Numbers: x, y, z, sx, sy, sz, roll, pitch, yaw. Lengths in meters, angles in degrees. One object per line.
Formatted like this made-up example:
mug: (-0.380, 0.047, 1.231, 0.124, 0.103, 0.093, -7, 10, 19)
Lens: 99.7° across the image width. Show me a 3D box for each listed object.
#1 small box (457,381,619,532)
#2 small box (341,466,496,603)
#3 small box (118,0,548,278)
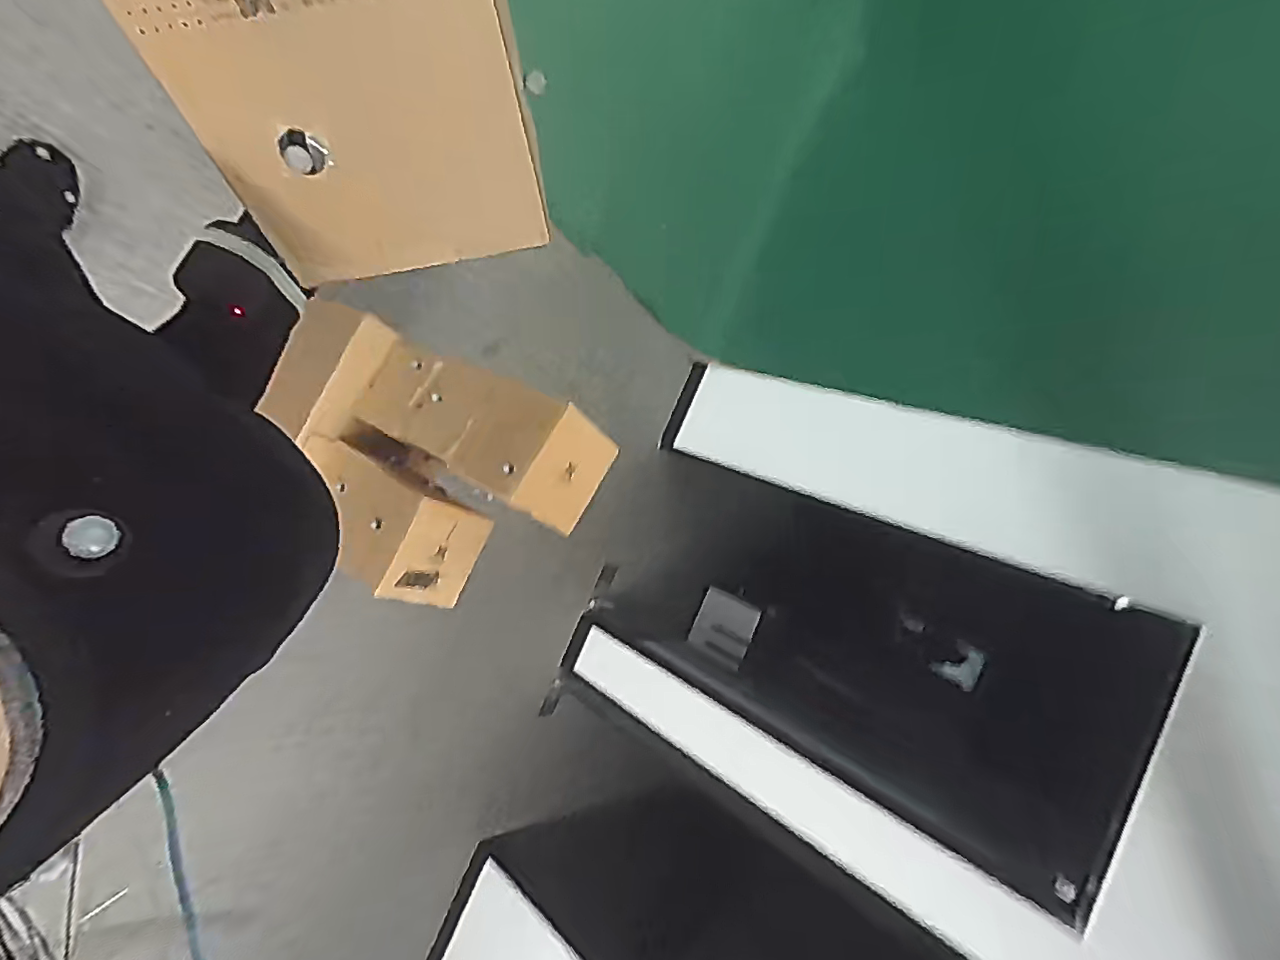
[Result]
small box: (-0.173, -0.043, 0.914, 0.179, 0.176, 0.168, -60, 145, -8)
small box: (-0.402, 0.098, 0.972, 0.168, 0.176, 0.179, 32, 81, -55)
small box: (-0.162, -0.259, 0.327, 0.168, 0.179, 0.176, -12, 146, -1)
